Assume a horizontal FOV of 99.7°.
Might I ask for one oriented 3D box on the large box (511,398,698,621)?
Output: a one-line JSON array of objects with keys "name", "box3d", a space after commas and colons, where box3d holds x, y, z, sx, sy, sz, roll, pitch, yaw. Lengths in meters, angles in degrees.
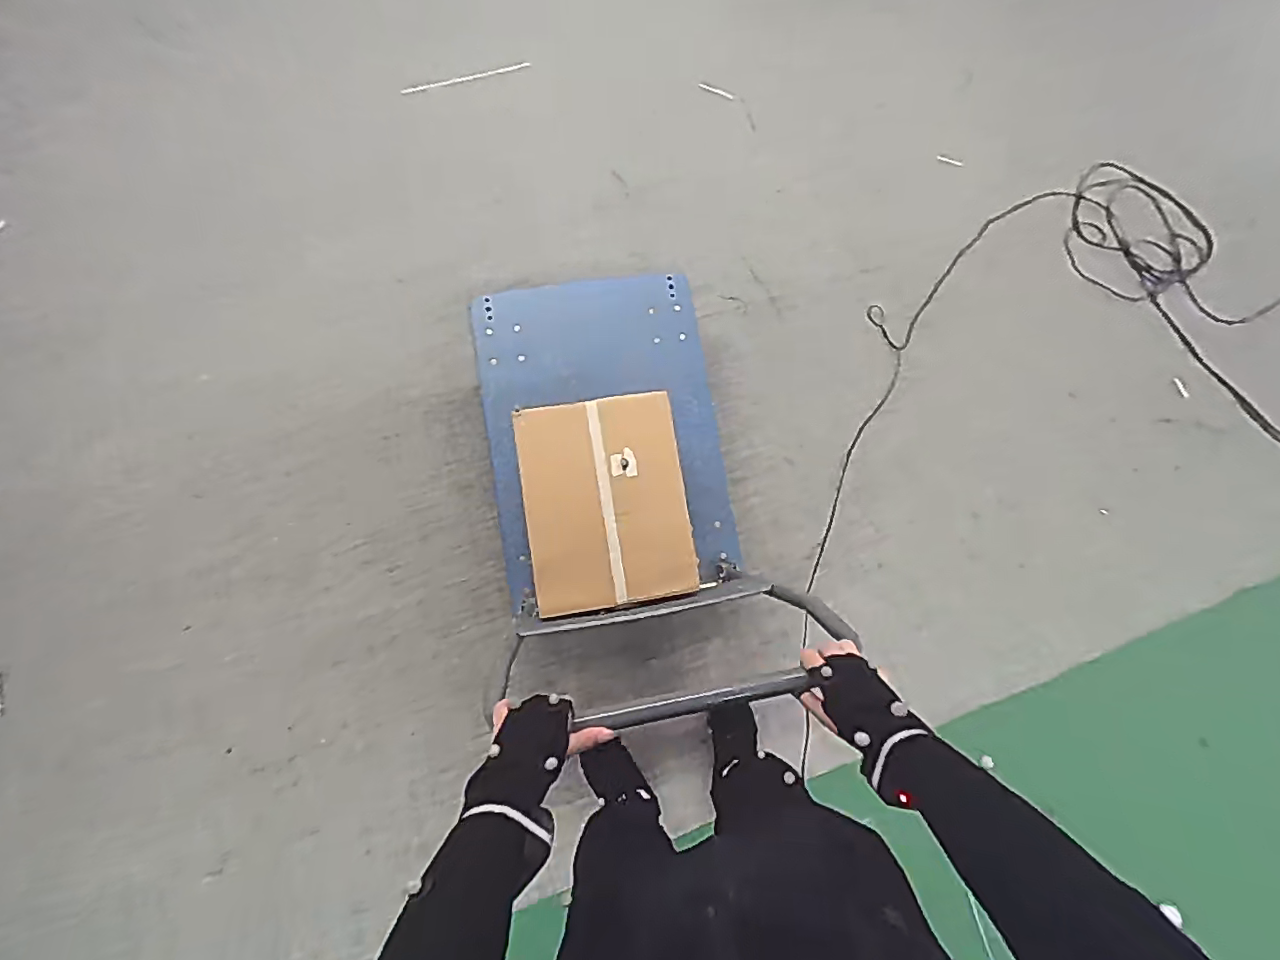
[{"name": "large box", "box3d": [-0.082, 0.072, 1.204, 0.320, 0.320, 0.408, -9, 82, -7]}]
